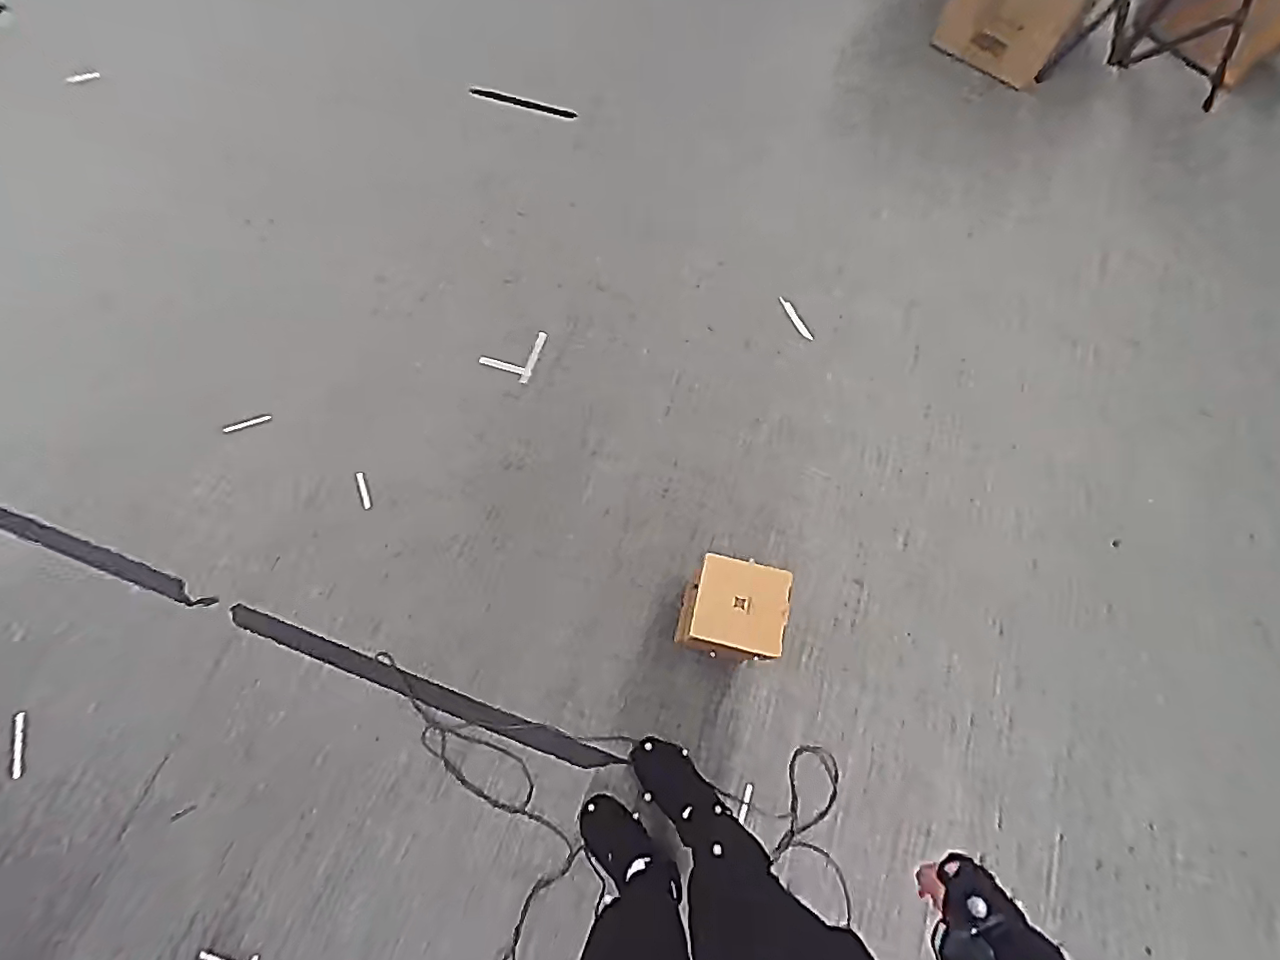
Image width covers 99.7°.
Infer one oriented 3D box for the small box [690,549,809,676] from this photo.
[{"bbox_3d":[0.210,0.261,1.055,0.168,0.176,0.179,18,52,-14],"label":"small box"}]
